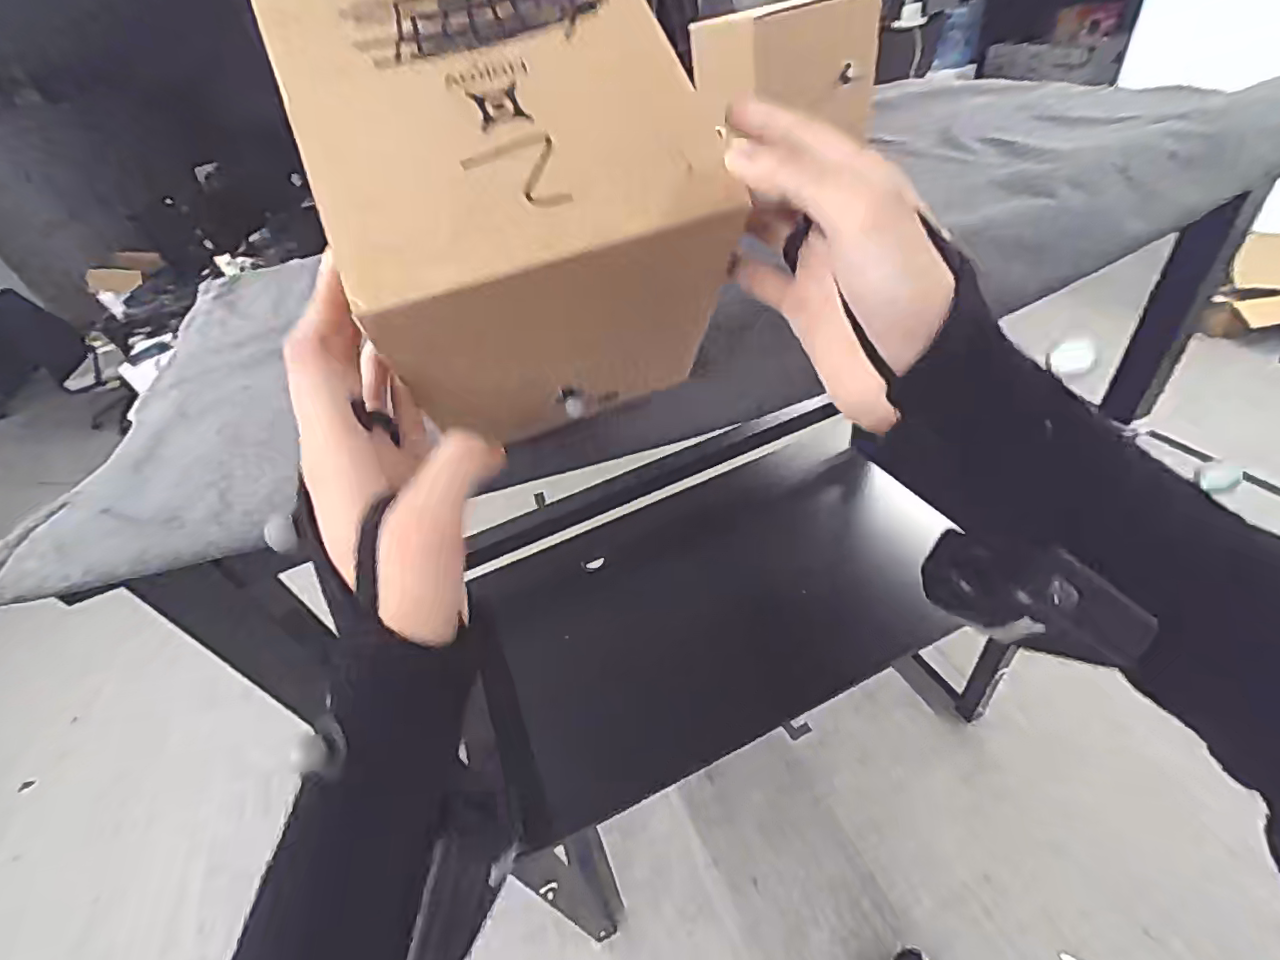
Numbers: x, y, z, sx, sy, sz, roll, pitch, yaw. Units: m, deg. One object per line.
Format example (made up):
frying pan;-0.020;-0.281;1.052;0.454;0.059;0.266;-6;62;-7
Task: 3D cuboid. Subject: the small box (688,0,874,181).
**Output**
small box;0.181;-0.526;0.730;0.179;0.176;0.168;-22;41;-10
